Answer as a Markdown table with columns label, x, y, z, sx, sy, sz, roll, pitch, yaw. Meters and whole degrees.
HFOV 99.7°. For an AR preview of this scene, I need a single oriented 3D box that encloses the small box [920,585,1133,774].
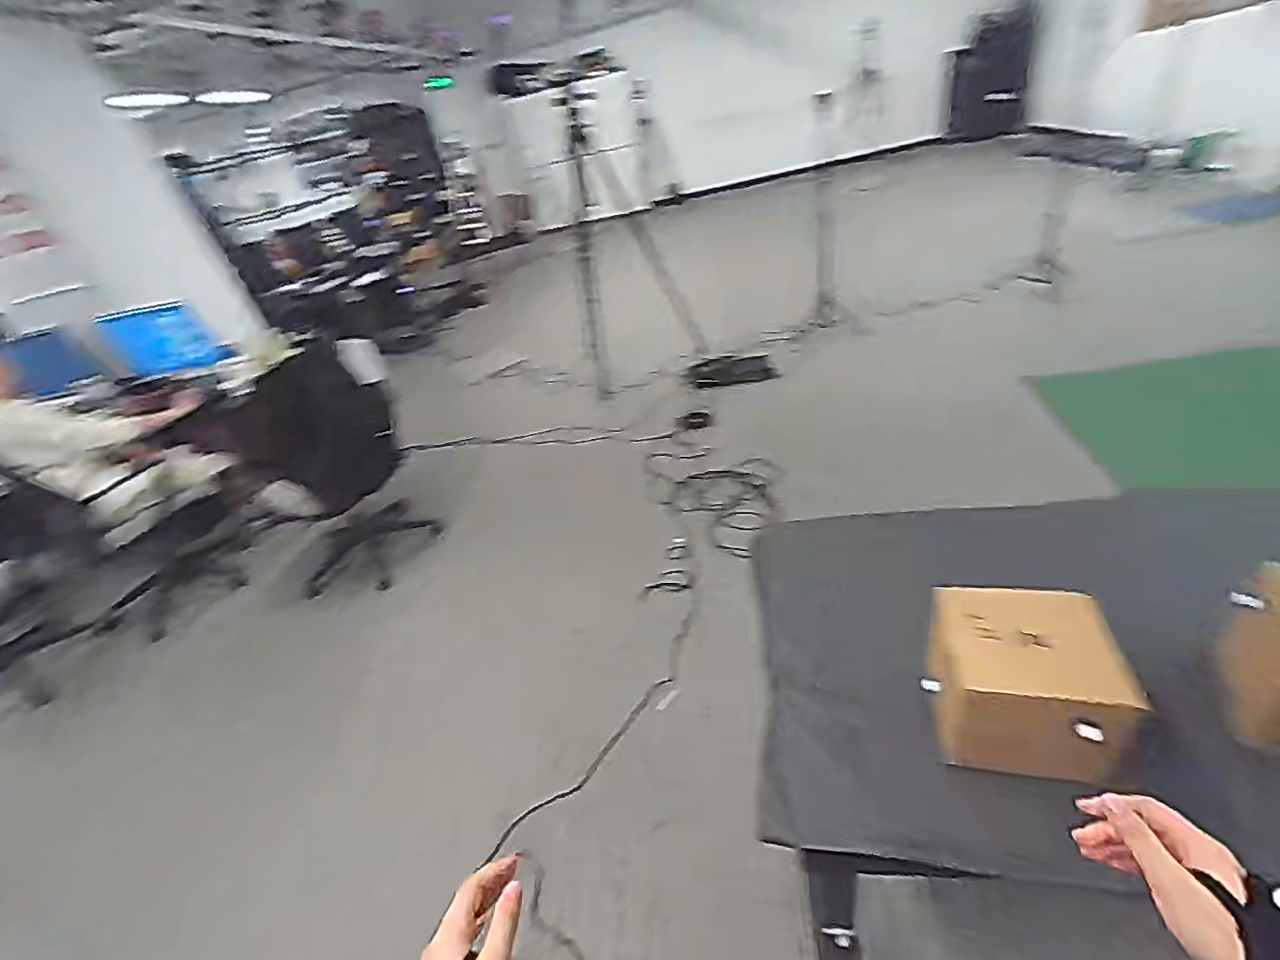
| label | x | y | z | sx | sy | sz | roll | pitch | yaw |
| --- | --- | --- | --- | --- | --- | --- | --- | --- | --- |
| small box | 0.484 | 0.259 | 0.711 | 0.179 | 0.176 | 0.168 | -2 | 35 | 18 |

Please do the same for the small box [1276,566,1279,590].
| label | x | y | z | sx | sy | sz | roll | pitch | yaw |
| --- | --- | --- | --- | --- | --- | --- | --- | --- | --- |
| small box | 0.791 | 0.102 | 0.527 | 0.179 | 0.176 | 0.168 | 15 | 43 | 36 |
